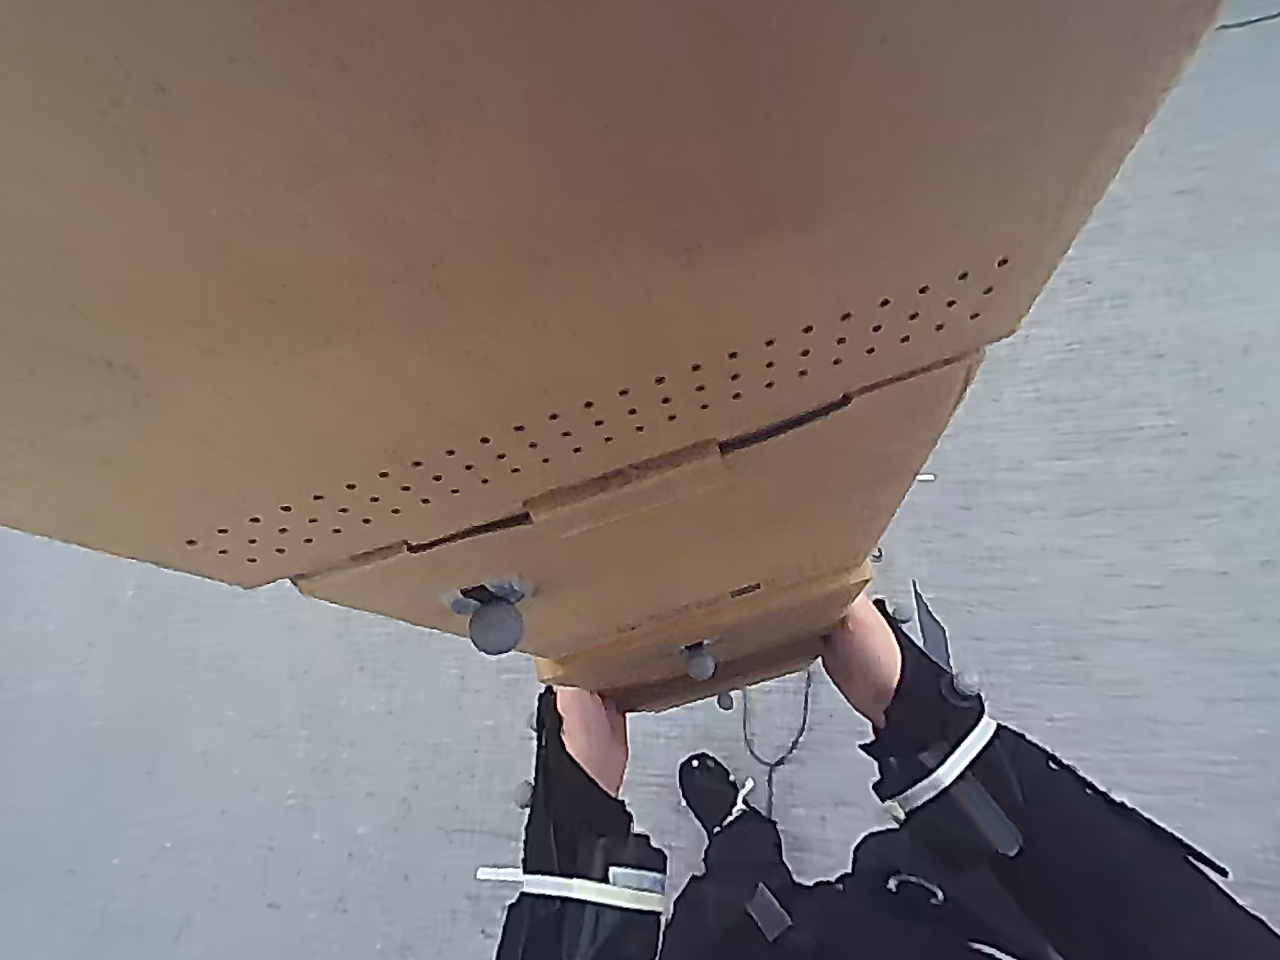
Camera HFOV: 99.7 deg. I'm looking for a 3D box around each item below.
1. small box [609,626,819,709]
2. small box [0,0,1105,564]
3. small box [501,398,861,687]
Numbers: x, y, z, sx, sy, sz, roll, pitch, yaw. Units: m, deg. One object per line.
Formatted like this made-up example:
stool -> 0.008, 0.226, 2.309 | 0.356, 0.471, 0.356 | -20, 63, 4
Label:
small box -> 0.052, 0.108, 0.515 | 0.168, 0.176, 0.179 | -18, 65, 5
small box -> -0.047, -0.104, 0.082 | 0.179, 0.176, 0.168 | -18, 63, 5
small box -> 0.022, 0.035, 0.373 | 0.179, 0.176, 0.168 | -19, 64, 5
